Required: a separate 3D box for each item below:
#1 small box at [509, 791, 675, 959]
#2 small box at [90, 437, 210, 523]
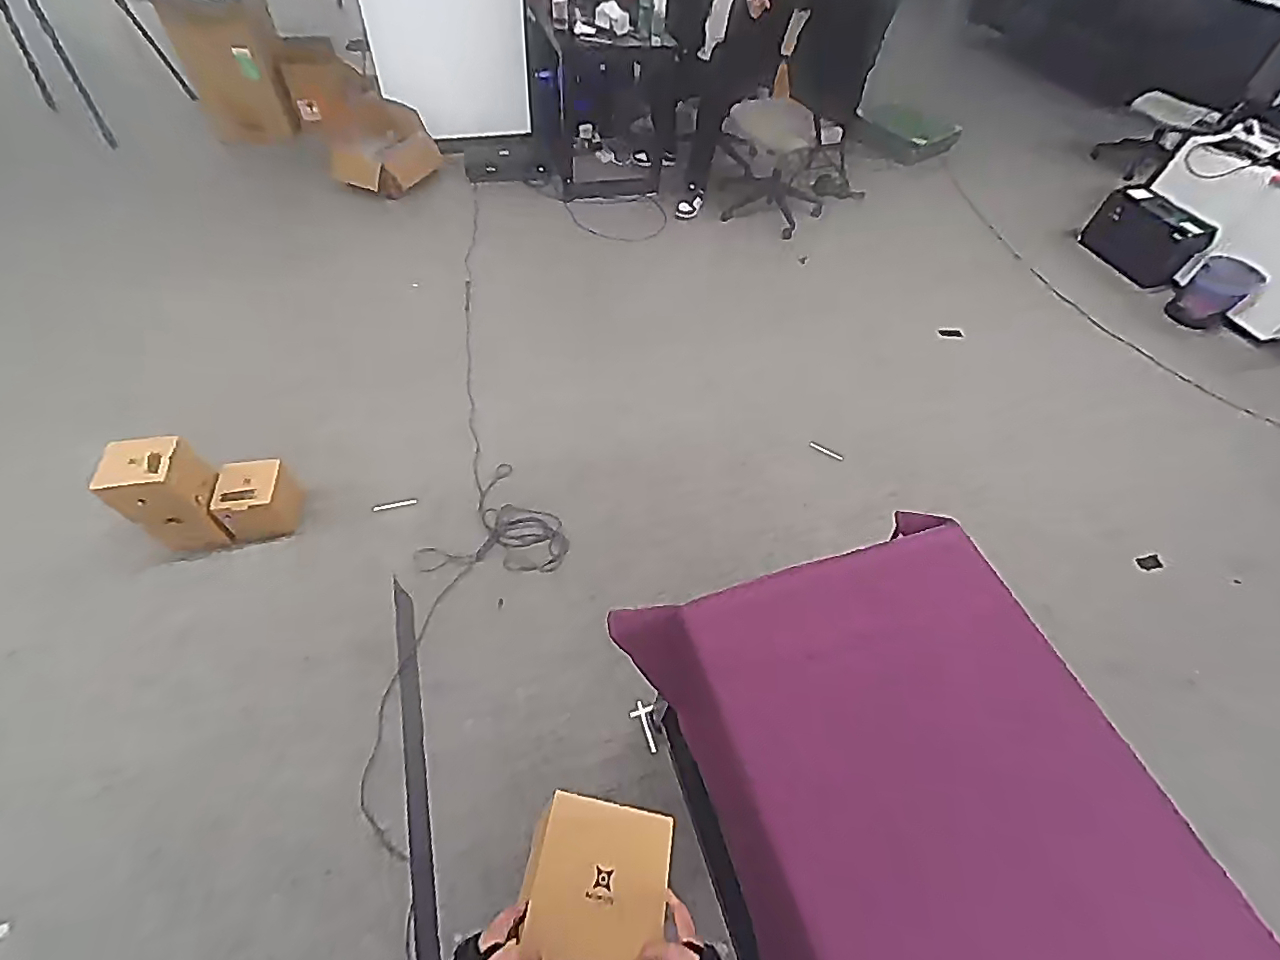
[{"bbox_3d":[-0.065,0.541,0.706,0.168,0.176,0.179,17,45,-5],"label":"small box"},{"bbox_3d":[-1.365,0.002,1.524,0.179,0.176,0.168,-8,55,-10],"label":"small box"}]
